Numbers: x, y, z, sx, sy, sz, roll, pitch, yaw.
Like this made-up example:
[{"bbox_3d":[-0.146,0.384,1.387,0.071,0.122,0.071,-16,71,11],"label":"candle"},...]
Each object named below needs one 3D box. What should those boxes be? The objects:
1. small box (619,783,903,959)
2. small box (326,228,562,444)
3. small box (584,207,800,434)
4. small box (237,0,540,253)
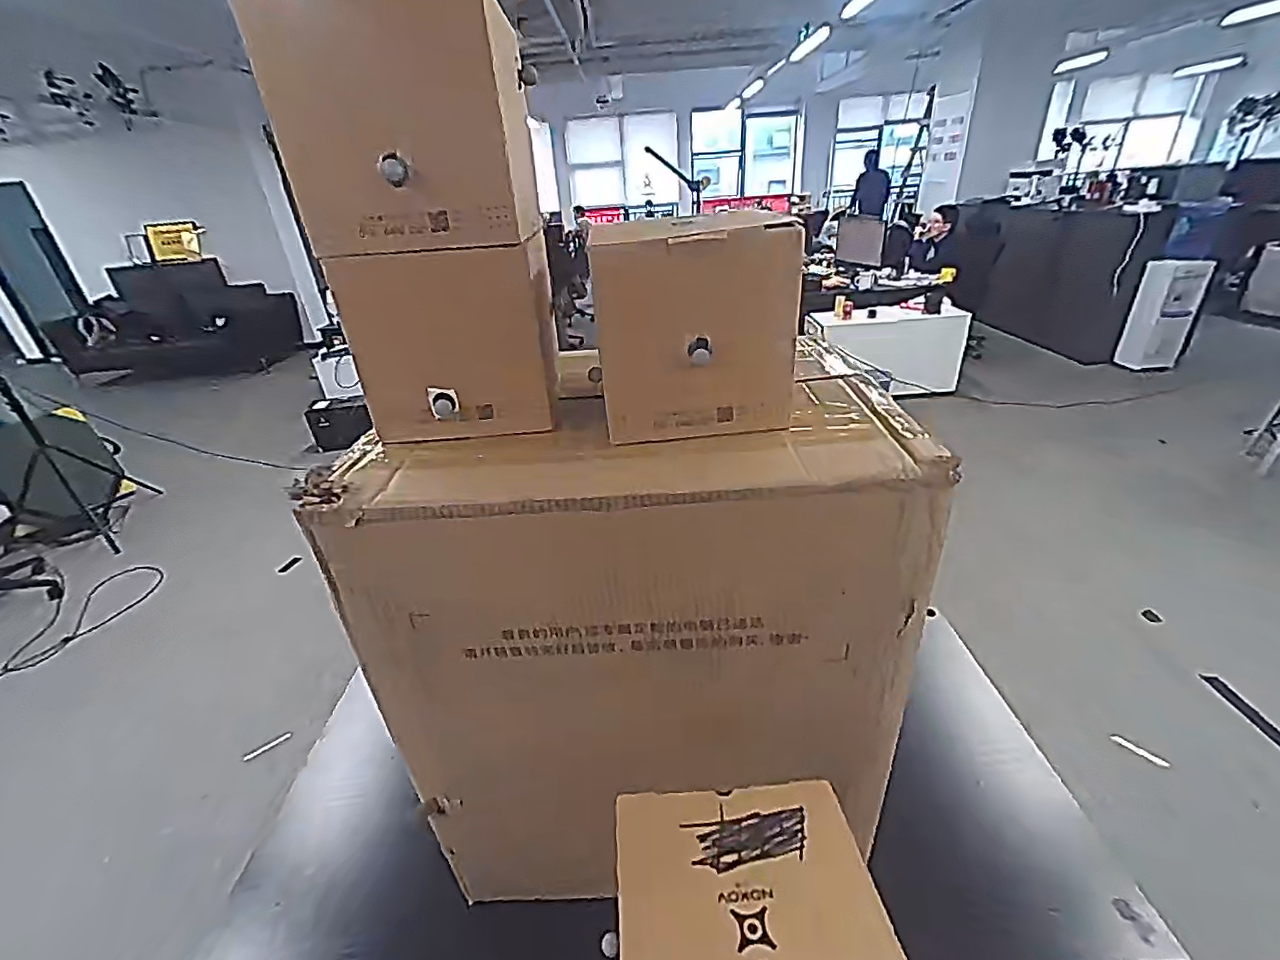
[{"bbox_3d":[0.069,0.341,0.360,0.168,0.176,0.179,-3,22,-2],"label":"small box"},{"bbox_3d":[-0.172,-0.149,0.541,0.168,0.176,0.179,-6,30,-3],"label":"small box"},{"bbox_3d":[0.043,-0.149,0.510,0.168,0.176,0.179,-6,30,0],"label":"small box"},{"bbox_3d":[-0.184,-0.292,0.459,0.168,0.176,0.179,-5,29,-1],"label":"small box"}]
